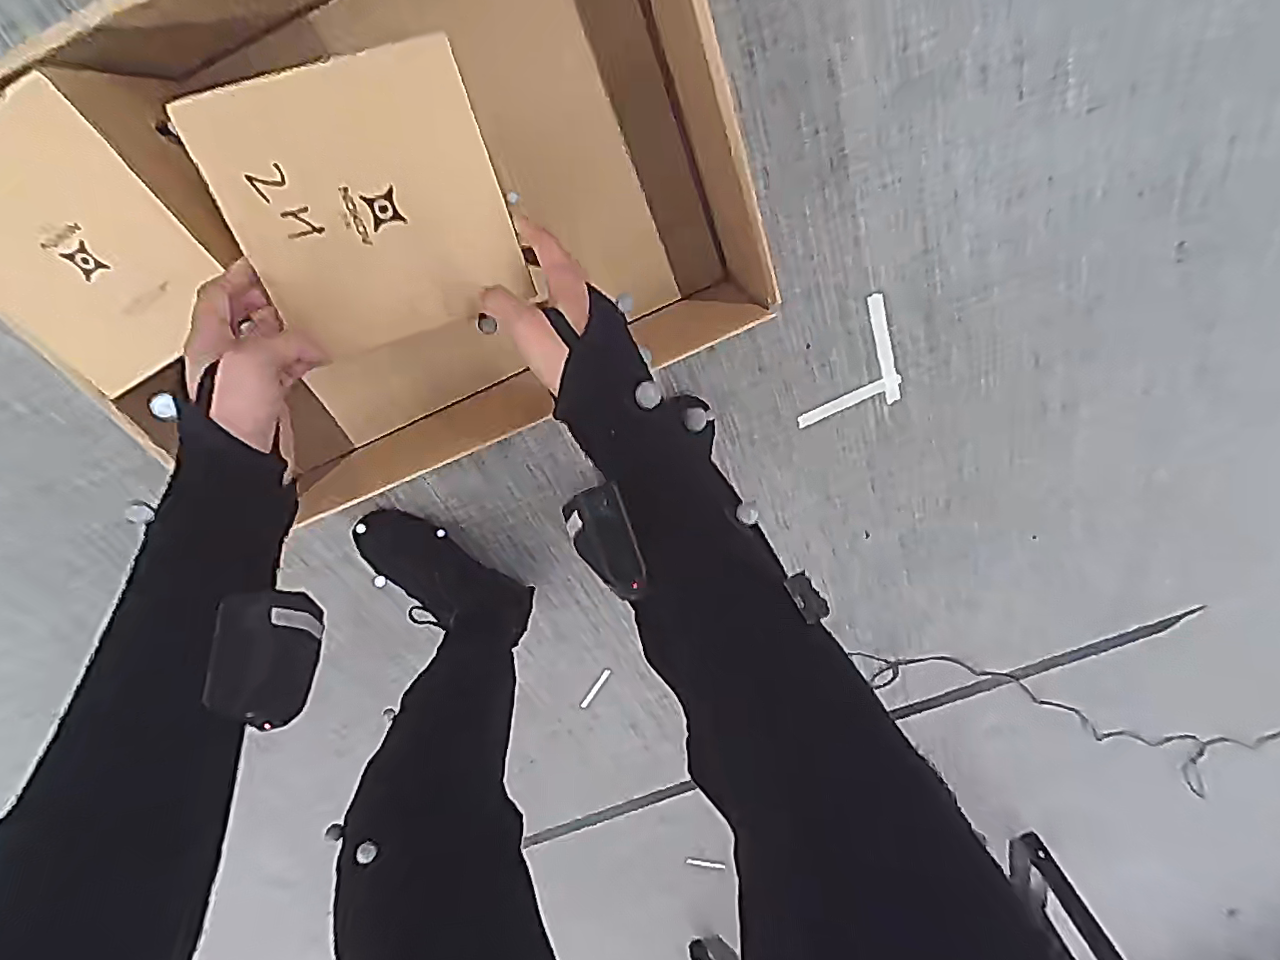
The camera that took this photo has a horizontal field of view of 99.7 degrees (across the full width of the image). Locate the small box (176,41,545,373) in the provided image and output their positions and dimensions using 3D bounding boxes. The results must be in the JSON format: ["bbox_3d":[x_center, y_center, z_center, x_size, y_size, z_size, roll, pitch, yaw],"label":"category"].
[{"bbox_3d":[-0.189,-0.200,0.427,0.179,0.176,0.168,-19,113,-6],"label":"small box"}]
